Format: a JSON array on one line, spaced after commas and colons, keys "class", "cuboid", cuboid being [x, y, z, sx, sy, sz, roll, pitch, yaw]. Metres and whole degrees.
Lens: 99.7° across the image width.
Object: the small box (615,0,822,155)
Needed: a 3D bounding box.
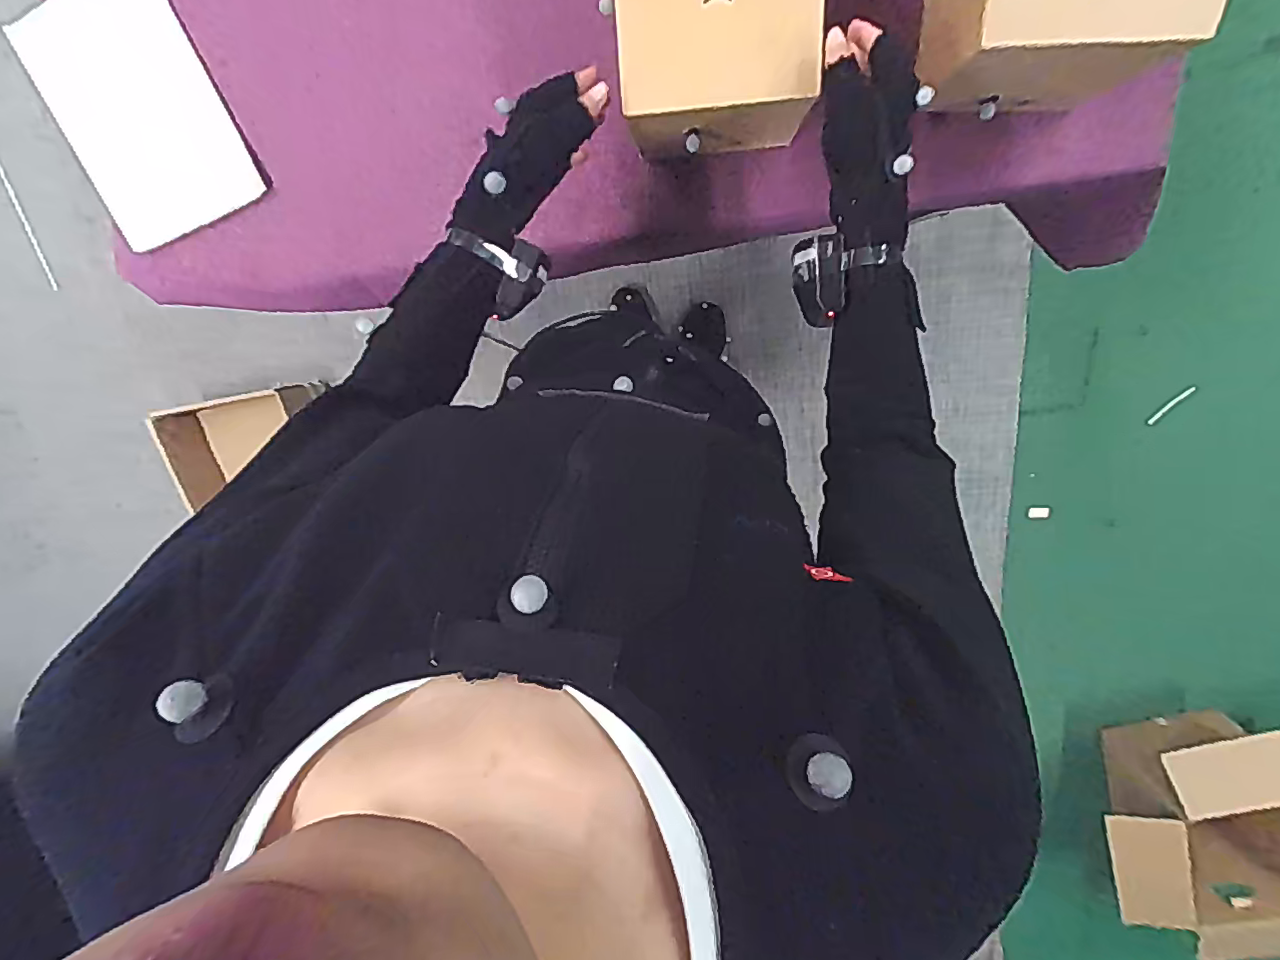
[{"class": "small box", "cuboid": [0.070, -0.413, 0.499, 0.168, 0.176, 0.179, -1, 112, 7]}]
